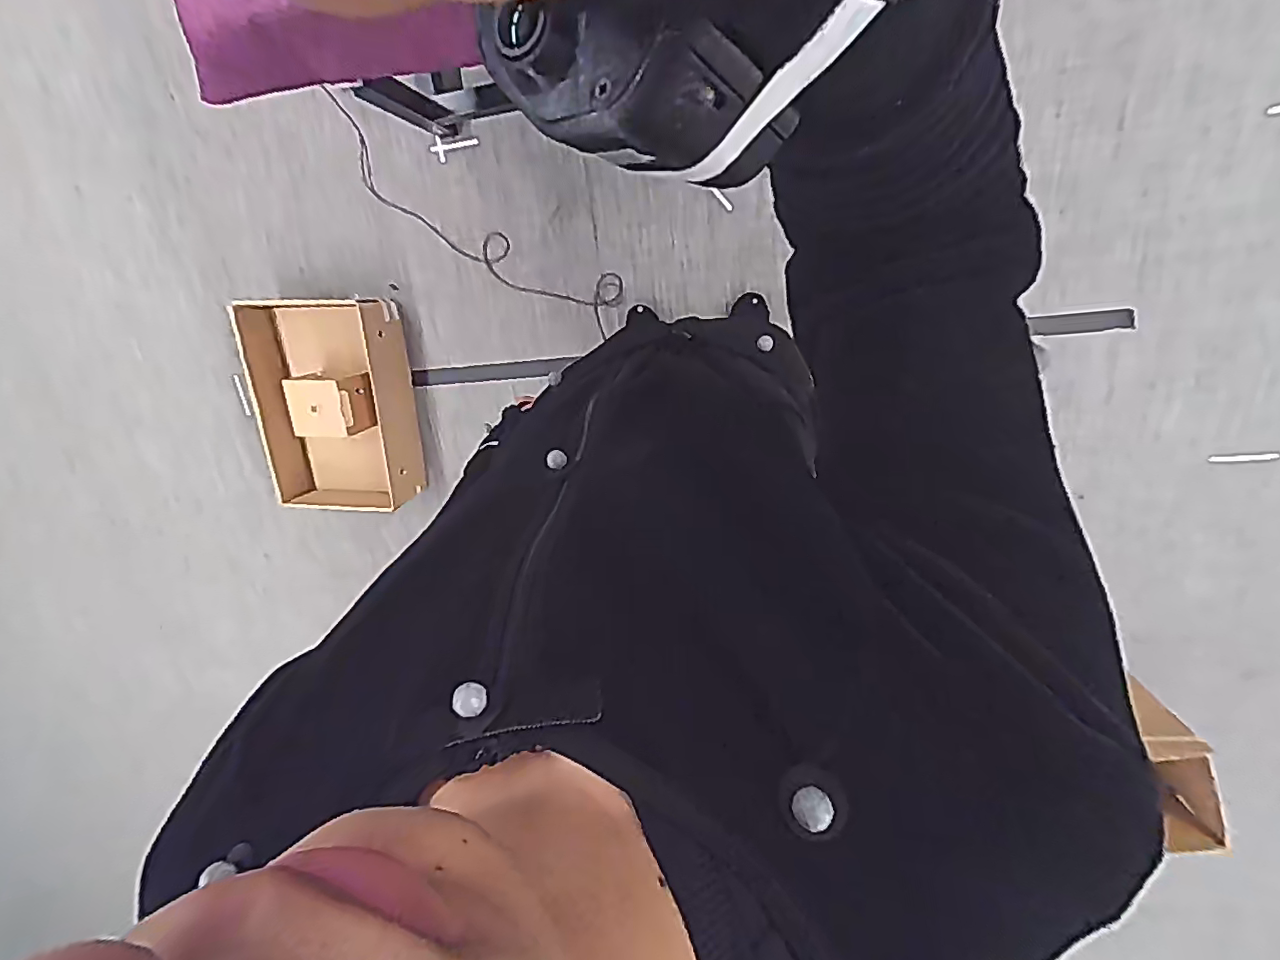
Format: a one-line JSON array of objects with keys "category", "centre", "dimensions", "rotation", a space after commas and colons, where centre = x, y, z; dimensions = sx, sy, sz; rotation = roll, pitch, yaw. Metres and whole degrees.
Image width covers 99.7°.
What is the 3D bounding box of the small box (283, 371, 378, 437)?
[{"category": "small box", "centre": [-0.903, -0.230, 1.602], "dimensions": [0.179, 0.176, 0.168], "rotation": [2, 110, 8]}]
